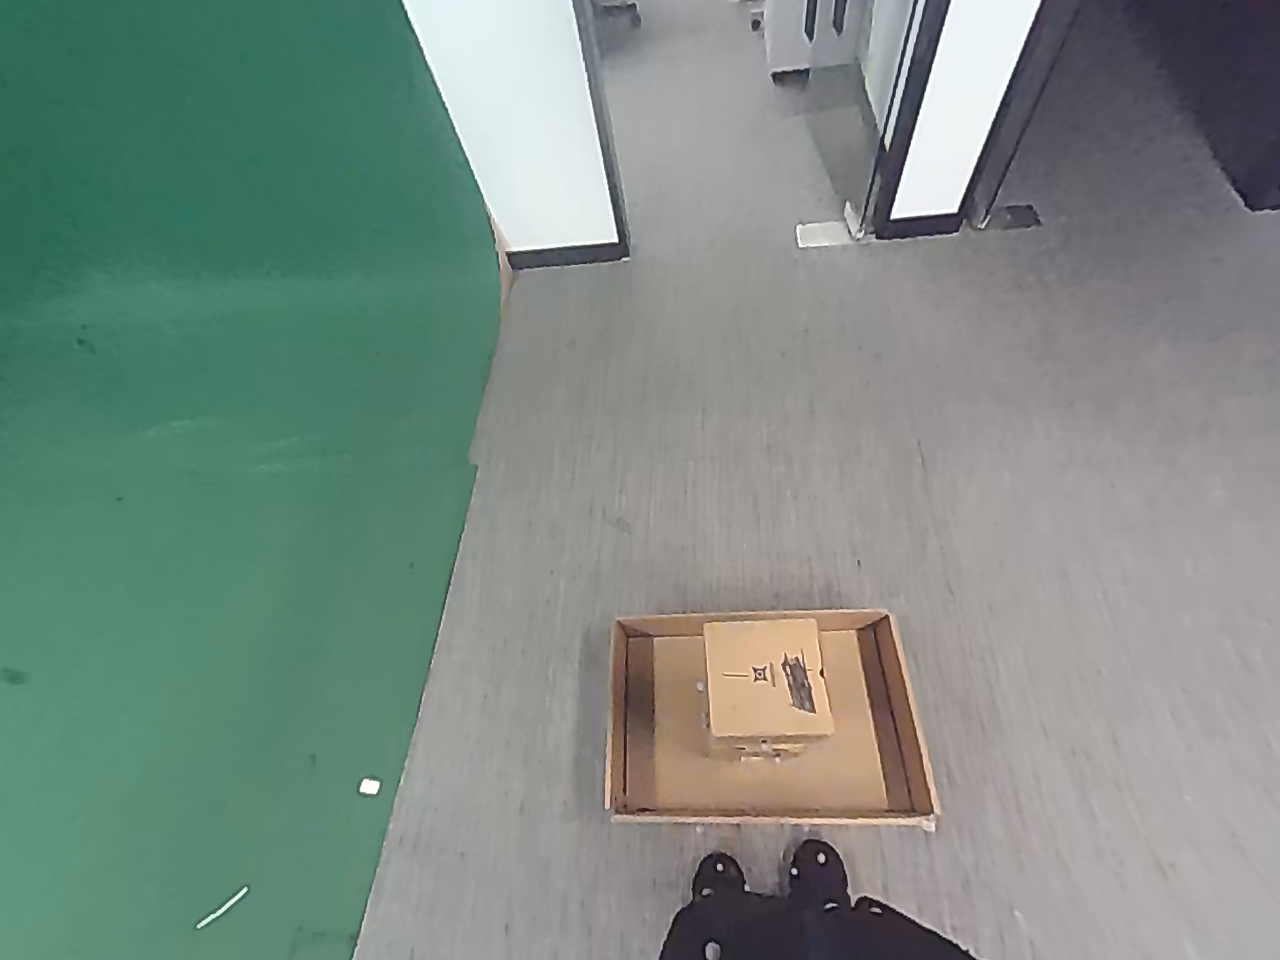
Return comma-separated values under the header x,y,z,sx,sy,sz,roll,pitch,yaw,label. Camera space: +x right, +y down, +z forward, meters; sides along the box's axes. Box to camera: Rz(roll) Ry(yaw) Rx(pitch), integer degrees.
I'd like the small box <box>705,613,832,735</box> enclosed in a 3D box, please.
x,y,z,sx,sy,sz,roll,pitch,yaw,label
0.198,0.321,0.885,0.179,0.176,0.168,-4,60,7,small box

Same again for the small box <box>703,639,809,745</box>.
x,y,z,sx,sy,sz,roll,pitch,yaw,label
0.210,0.397,1.011,0.168,0.176,0.179,-5,61,6,small box
